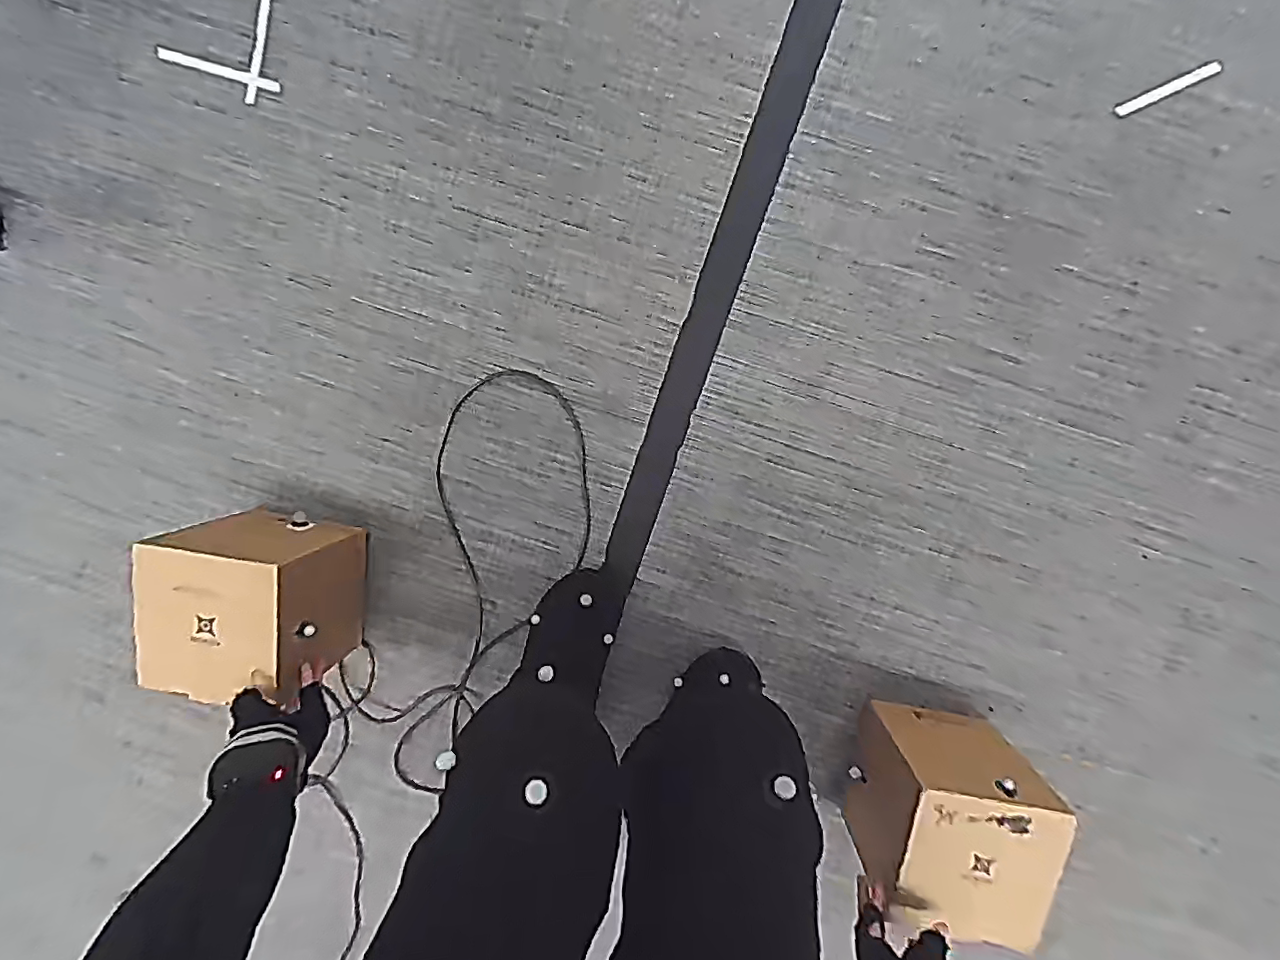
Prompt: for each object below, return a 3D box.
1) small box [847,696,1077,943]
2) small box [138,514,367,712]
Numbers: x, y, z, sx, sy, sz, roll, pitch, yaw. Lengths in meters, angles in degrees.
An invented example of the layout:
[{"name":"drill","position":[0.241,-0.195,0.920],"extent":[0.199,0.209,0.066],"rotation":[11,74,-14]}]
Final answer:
[{"name":"small box","position":[0.369,0.399,0.661],"extent":[0.168,0.176,0.179],"rotation":[9,101,2]},{"name":"small box","position":[-0.465,0.152,0.673],"extent":[0.168,0.176,0.179],"rotation":[7,99,3]}]
